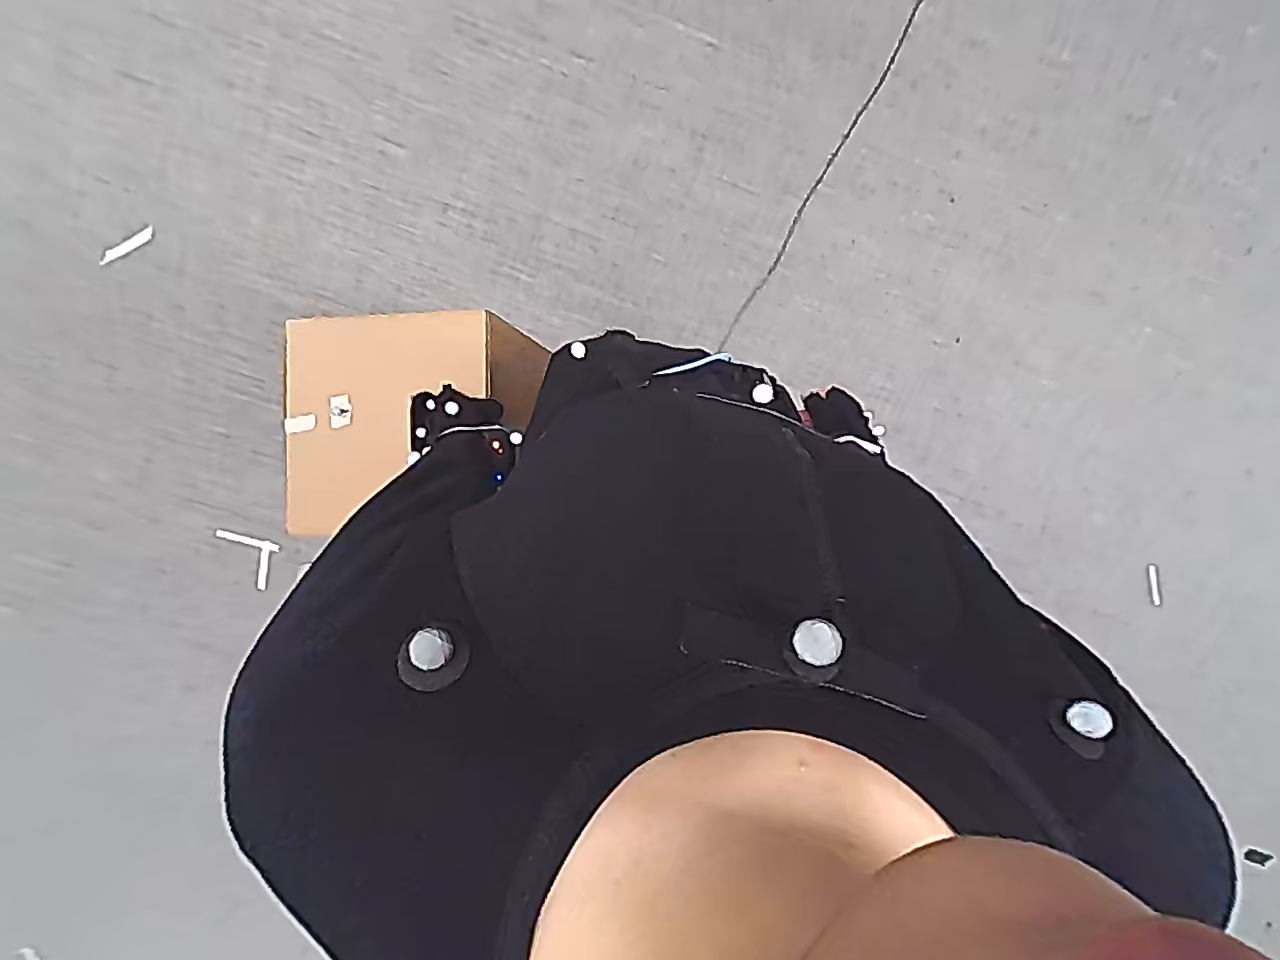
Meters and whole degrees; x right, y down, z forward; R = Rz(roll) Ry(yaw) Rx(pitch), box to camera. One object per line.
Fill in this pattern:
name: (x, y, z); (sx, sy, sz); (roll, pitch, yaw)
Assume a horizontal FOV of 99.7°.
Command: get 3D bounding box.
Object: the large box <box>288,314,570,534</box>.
large box: (-0.334, -0.088, 0.958); (0.320, 0.408, 0.320); (3, 92, 9)
